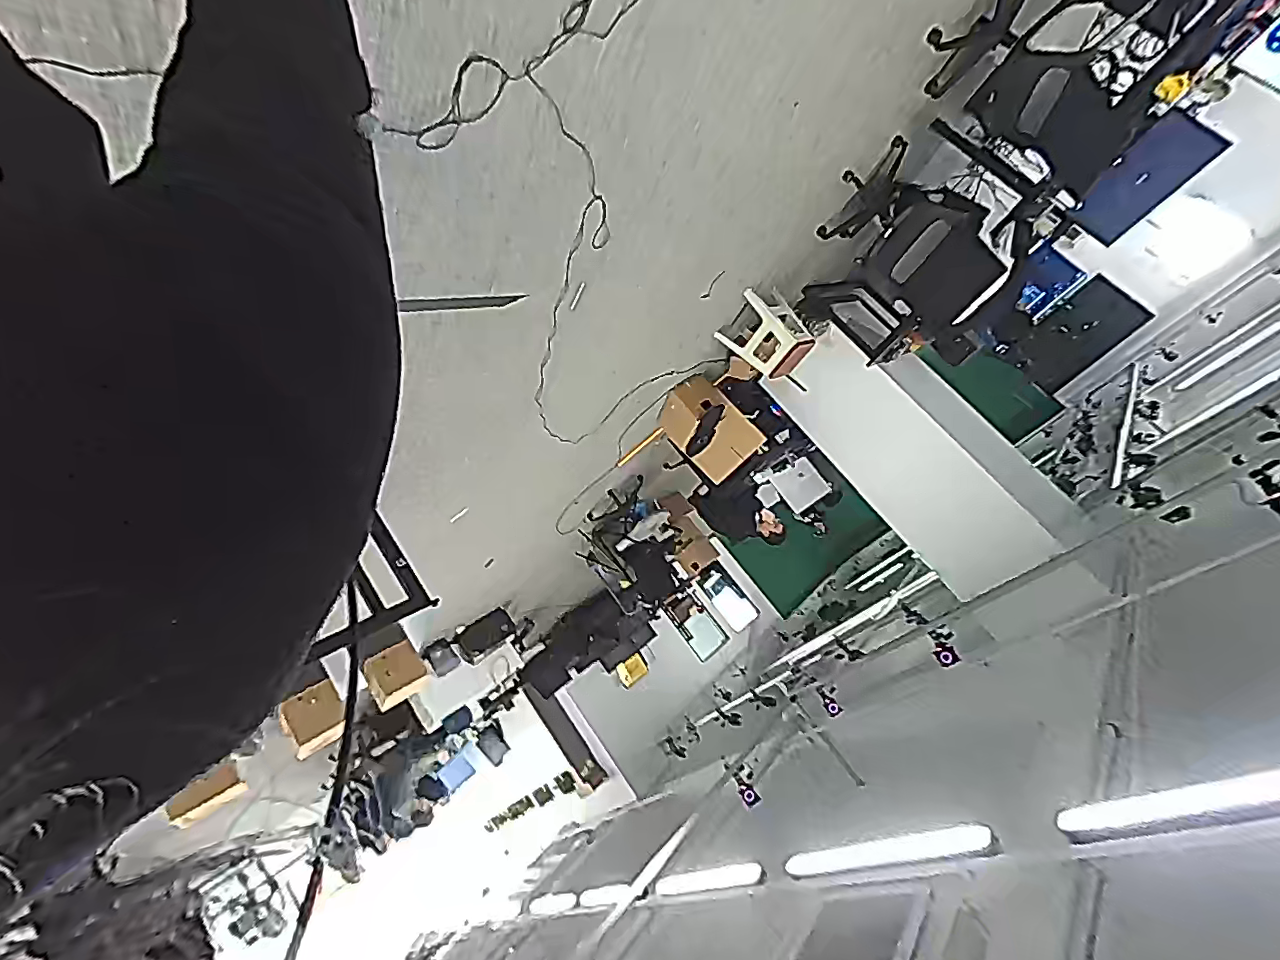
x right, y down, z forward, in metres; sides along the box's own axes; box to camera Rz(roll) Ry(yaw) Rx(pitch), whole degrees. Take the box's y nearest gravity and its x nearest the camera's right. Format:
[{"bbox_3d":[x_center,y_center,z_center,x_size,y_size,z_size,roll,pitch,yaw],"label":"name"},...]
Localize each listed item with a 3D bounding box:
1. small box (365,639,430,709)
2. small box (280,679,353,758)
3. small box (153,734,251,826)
[{"bbox_3d":[-0.935,0.737,2.074,0.168,0.176,0.179,-24,160,-41],"label":"small box"},{"bbox_3d":[-1.121,0.819,1.871,0.168,0.176,0.179,-25,159,-43],"label":"small box"},{"bbox_3d":[-1.330,0.911,1.649,0.179,0.176,0.168,-27,161,-40],"label":"small box"}]
